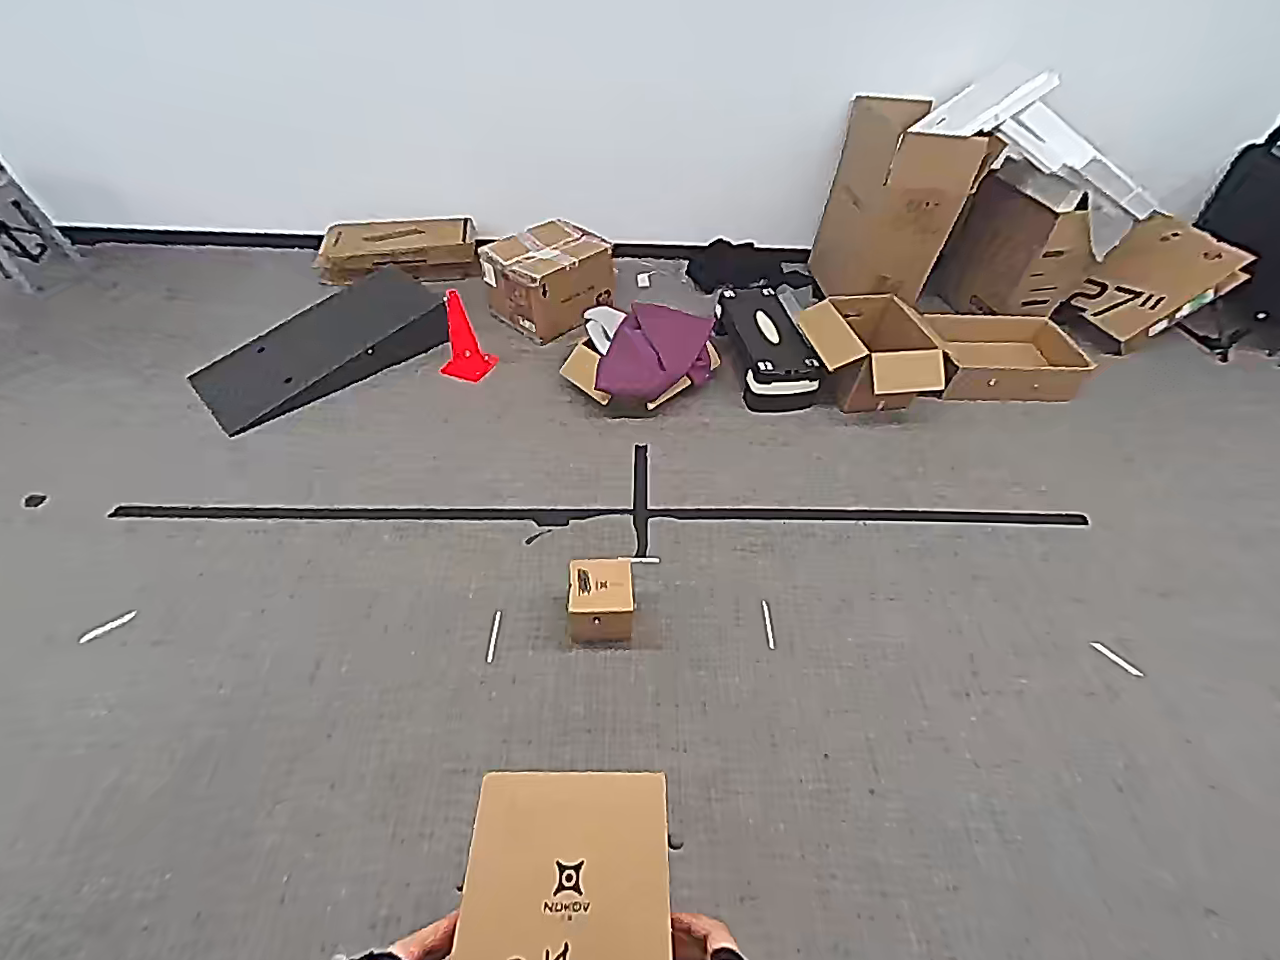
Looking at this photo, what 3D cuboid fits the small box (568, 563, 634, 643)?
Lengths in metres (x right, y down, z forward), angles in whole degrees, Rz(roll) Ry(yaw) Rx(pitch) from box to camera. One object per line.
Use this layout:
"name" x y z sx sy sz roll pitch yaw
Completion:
"small box" -0.109 0.352 1.538 0.179 0.176 0.168 -1 48 -5

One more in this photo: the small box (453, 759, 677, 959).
"small box" -0.057 0.372 0.483 0.168 0.176 0.179 1 45 -1
